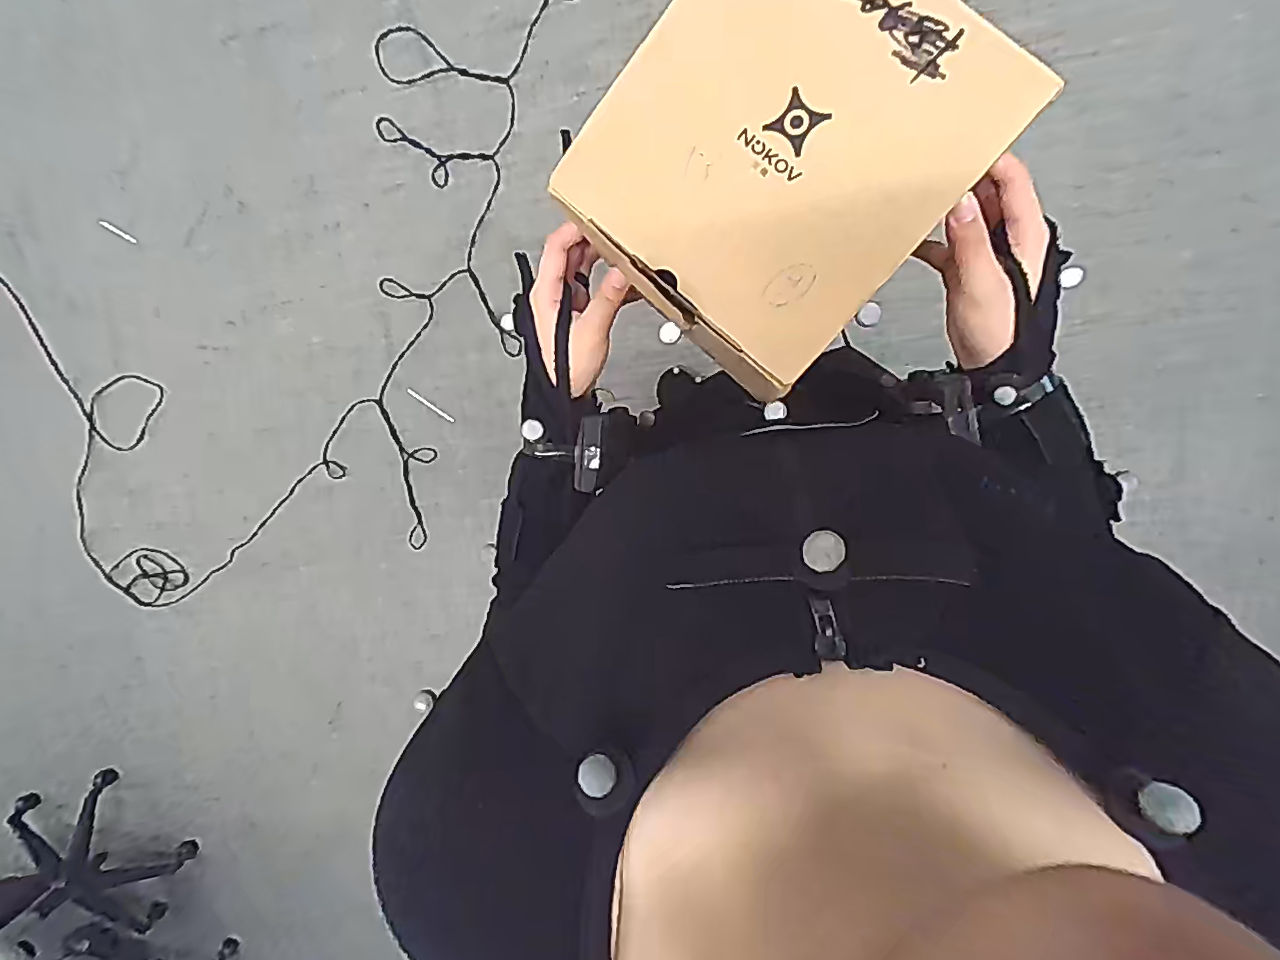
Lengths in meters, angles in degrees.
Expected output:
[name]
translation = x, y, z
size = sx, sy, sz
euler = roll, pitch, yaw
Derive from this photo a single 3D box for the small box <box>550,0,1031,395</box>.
[small box]
translation = 0.080, -0.168, 0.344
size = 0.168, 0.176, 0.179
euler = 42, 102, 4
